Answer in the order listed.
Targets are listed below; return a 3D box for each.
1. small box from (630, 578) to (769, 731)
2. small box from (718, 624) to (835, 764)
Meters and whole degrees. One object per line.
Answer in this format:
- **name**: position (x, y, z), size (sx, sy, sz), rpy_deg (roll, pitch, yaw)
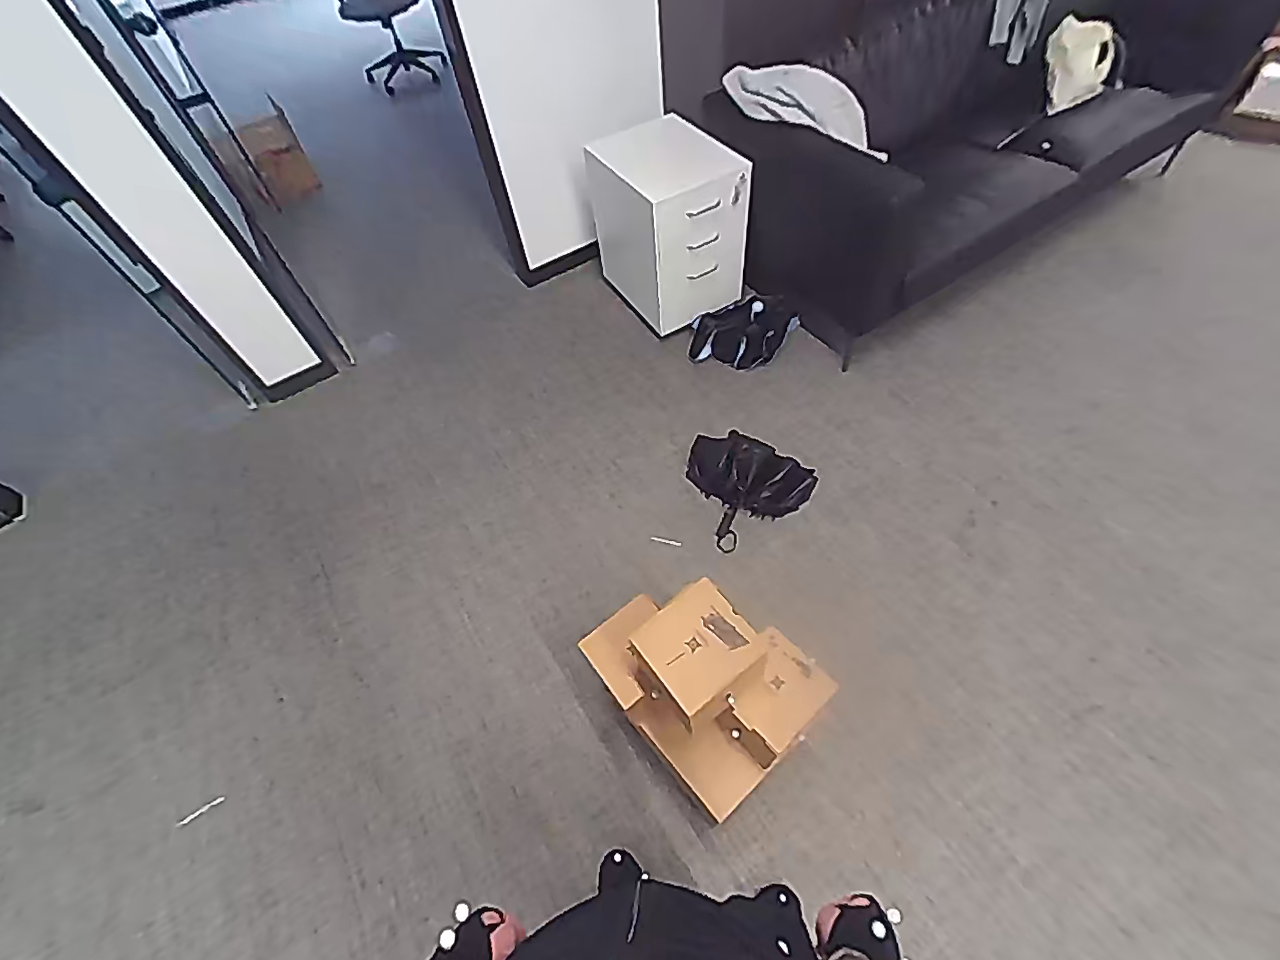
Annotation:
- **small box**: position (0.104, 0.313, 0.961), size (0.179, 0.176, 0.168), rpy_deg (-35, 58, -15)
- **small box**: position (0.253, 0.426, 1.066), size (0.179, 0.176, 0.168), rpy_deg (-38, 60, -19)
